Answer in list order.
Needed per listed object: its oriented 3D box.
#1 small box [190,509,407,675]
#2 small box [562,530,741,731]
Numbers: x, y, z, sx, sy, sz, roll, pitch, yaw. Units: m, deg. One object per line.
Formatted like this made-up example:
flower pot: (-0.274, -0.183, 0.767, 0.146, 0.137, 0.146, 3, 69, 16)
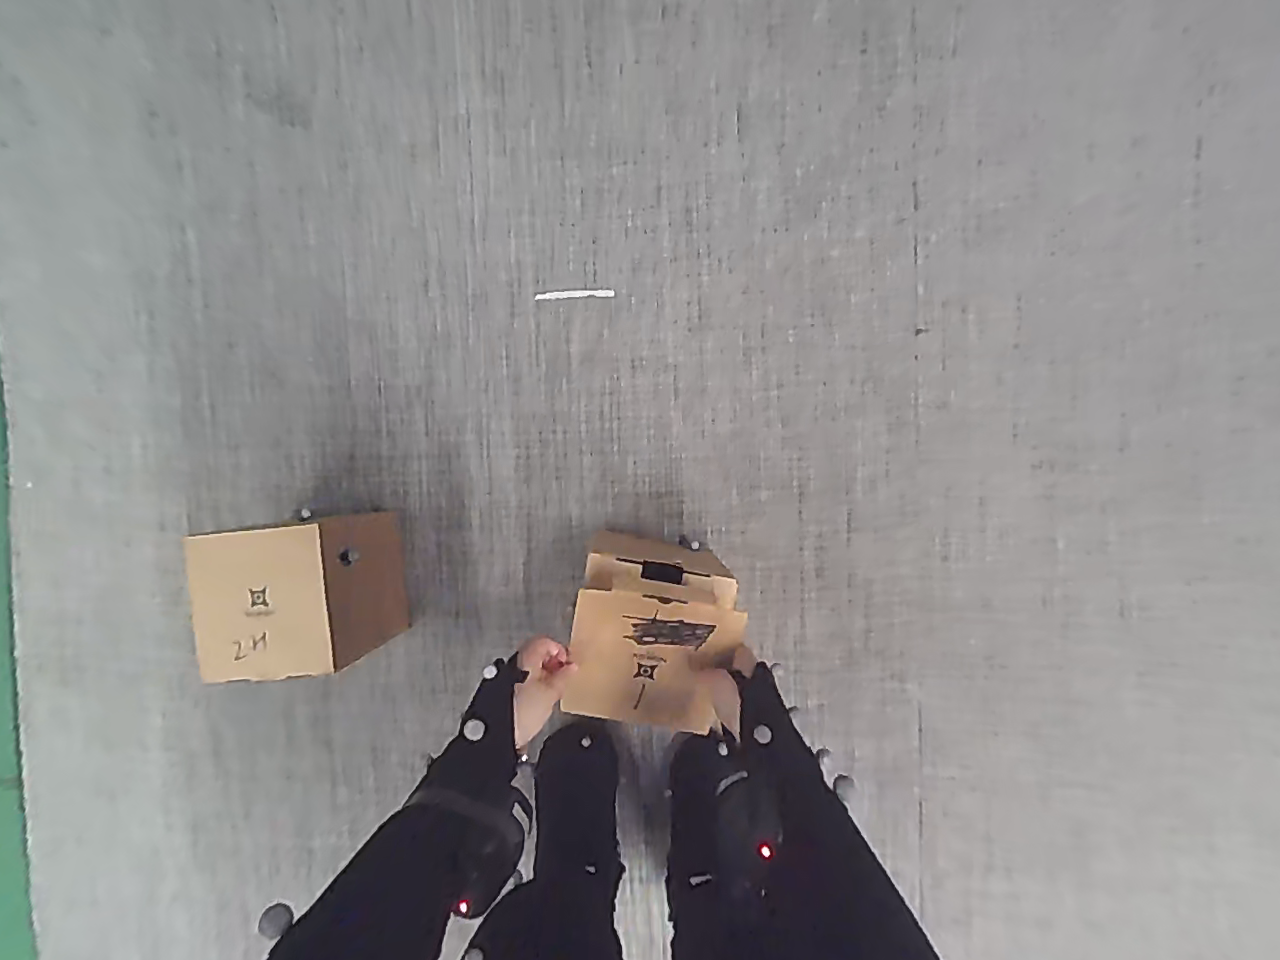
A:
small box: (-0.422, 0.131, 0.694, 0.168, 0.176, 0.179, -5, 91, 4)
small box: (0.009, 0.166, 0.654, 0.168, 0.176, 0.179, 11, 93, -2)
